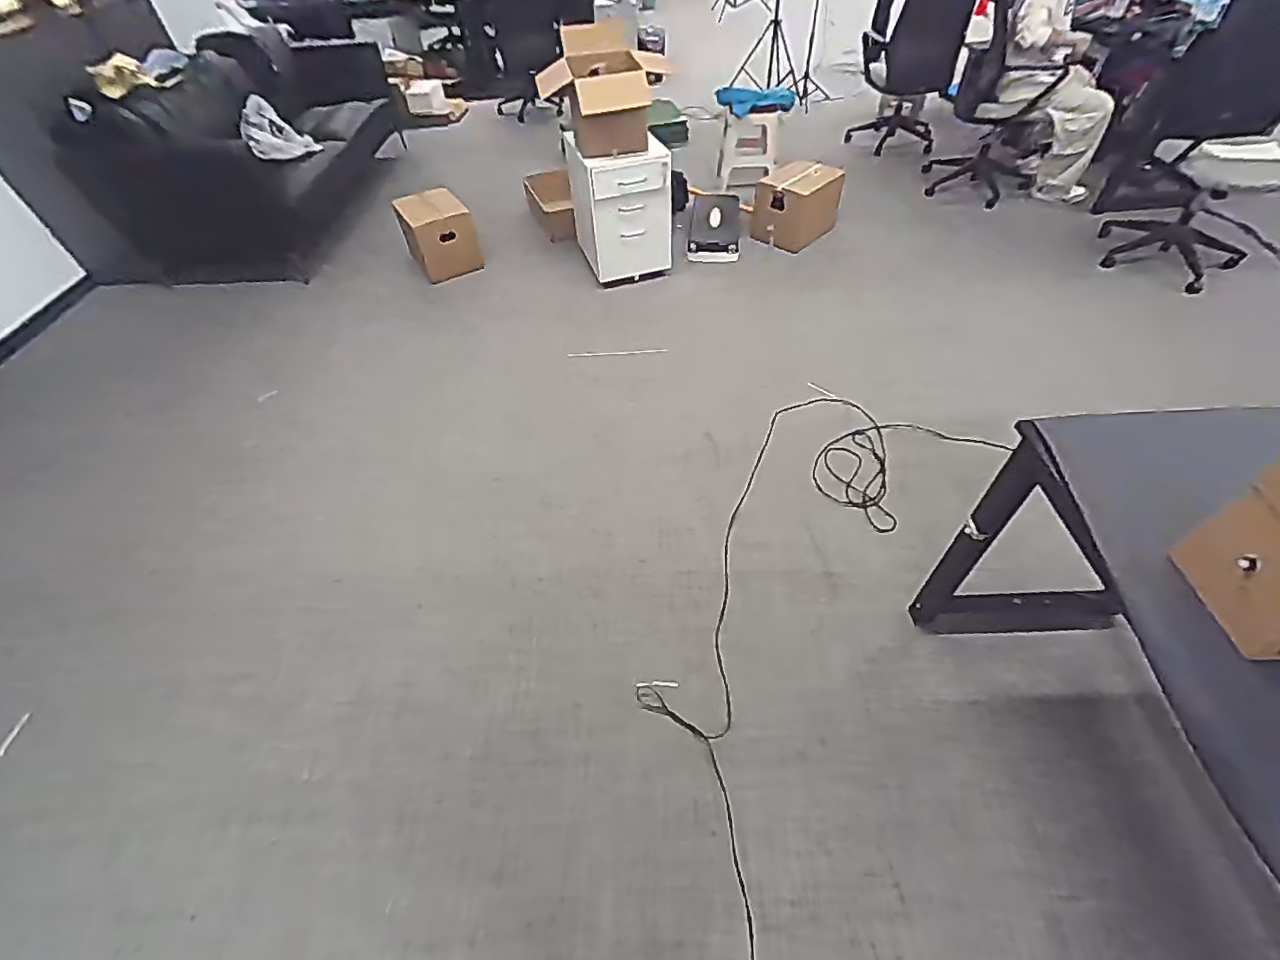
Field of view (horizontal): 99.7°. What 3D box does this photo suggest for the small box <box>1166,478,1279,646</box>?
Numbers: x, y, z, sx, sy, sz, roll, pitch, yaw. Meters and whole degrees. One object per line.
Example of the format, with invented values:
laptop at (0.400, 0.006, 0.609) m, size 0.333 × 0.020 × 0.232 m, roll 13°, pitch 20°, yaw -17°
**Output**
small box at (0.895, 0.115, 0.731) m, size 0.168 × 0.176 × 0.179 m, roll -1°, pitch 48°, yaw 2°
